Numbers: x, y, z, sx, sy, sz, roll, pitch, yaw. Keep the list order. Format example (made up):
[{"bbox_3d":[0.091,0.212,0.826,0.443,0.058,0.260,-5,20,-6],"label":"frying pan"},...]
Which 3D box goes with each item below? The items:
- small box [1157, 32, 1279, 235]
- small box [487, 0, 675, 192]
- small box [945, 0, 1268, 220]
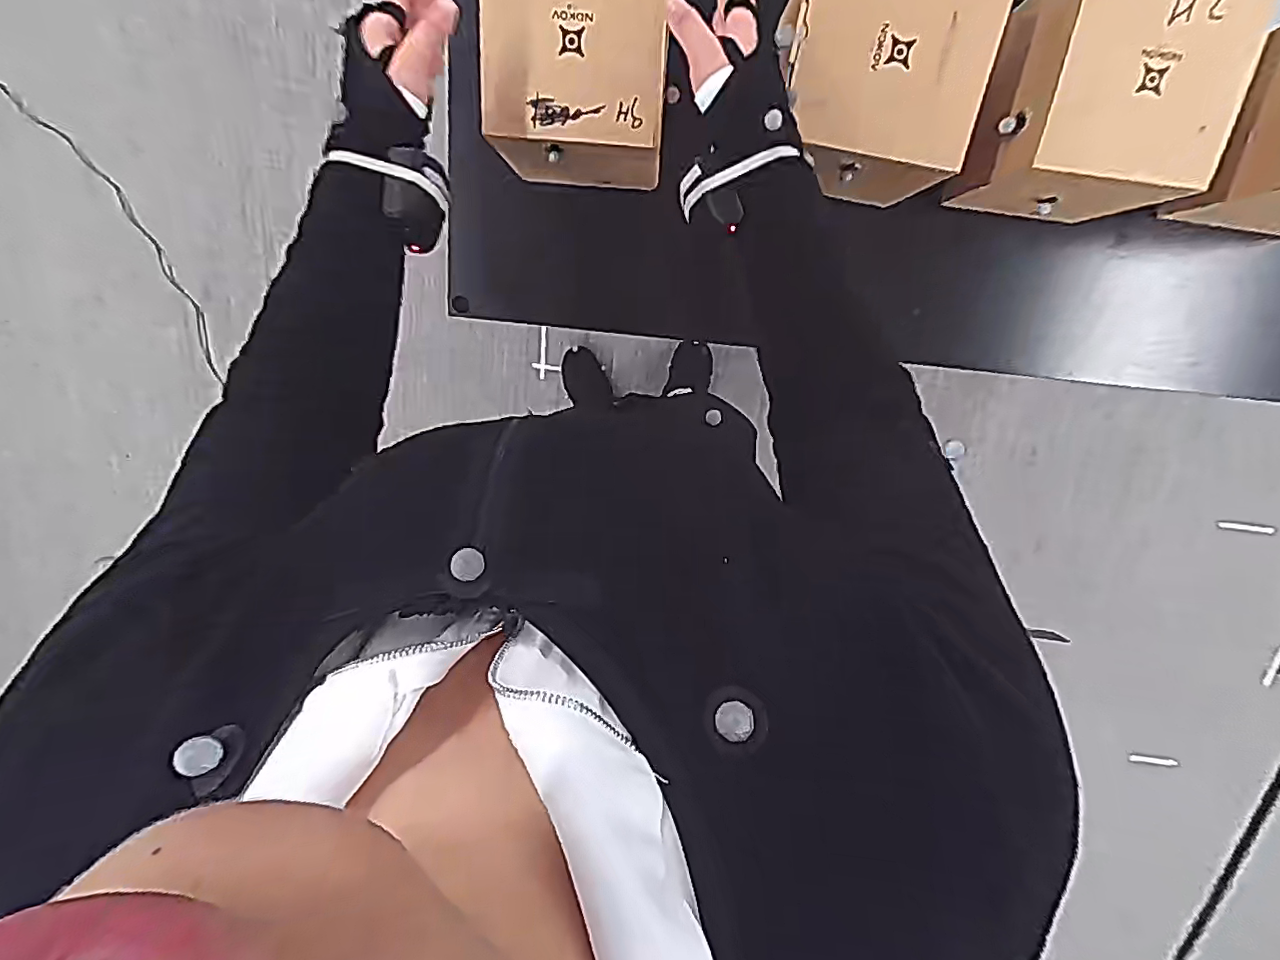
[{"bbox_3d":[0.711,-0.362,0.558,0.179,0.176,0.168,8,106,-1],"label":"small box"},{"bbox_3d":[-0.053,-0.421,0.561,0.168,0.176,0.179,5,106,0],"label":"small box"},{"bbox_3d":[0.451,-0.383,0.559,0.168,0.176,0.179,7,106,-1],"label":"small box"}]
